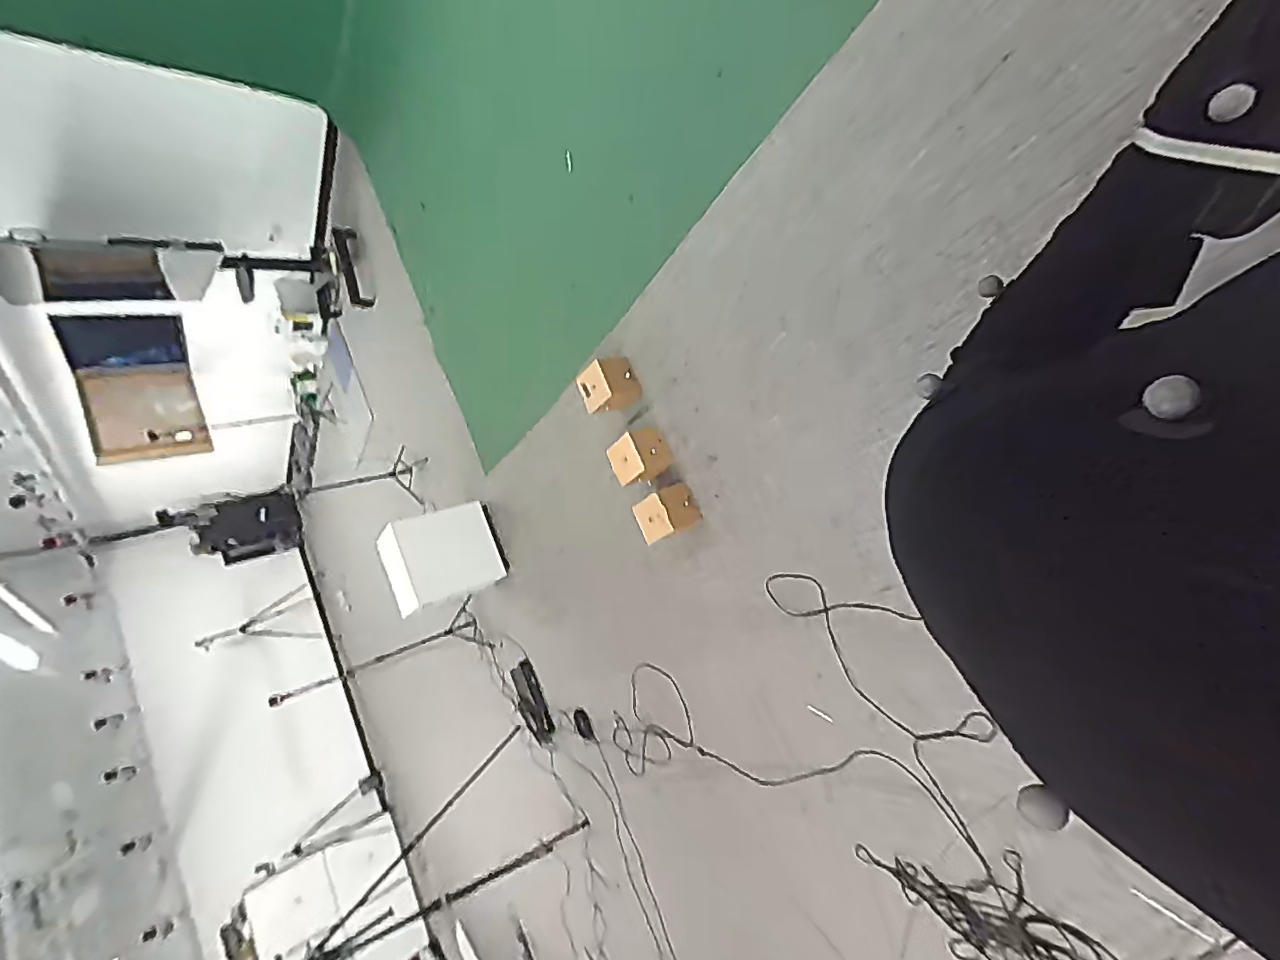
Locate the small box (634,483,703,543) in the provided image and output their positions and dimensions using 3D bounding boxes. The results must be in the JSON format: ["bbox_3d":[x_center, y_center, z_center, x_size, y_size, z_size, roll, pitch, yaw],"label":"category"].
[{"bbox_3d":[0.114,0.128,2.107,0.179,0.176,0.168,-36,74,47],"label":"small box"}]

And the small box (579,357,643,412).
[{"bbox_3d":[-0.117,-0.393,2.224,0.179,0.176,0.168,-32,77,47],"label":"small box"}]

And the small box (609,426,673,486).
[{"bbox_3d":[0.012,-0.100,2.164,0.179,0.176,0.168,-38,72,48],"label":"small box"}]
